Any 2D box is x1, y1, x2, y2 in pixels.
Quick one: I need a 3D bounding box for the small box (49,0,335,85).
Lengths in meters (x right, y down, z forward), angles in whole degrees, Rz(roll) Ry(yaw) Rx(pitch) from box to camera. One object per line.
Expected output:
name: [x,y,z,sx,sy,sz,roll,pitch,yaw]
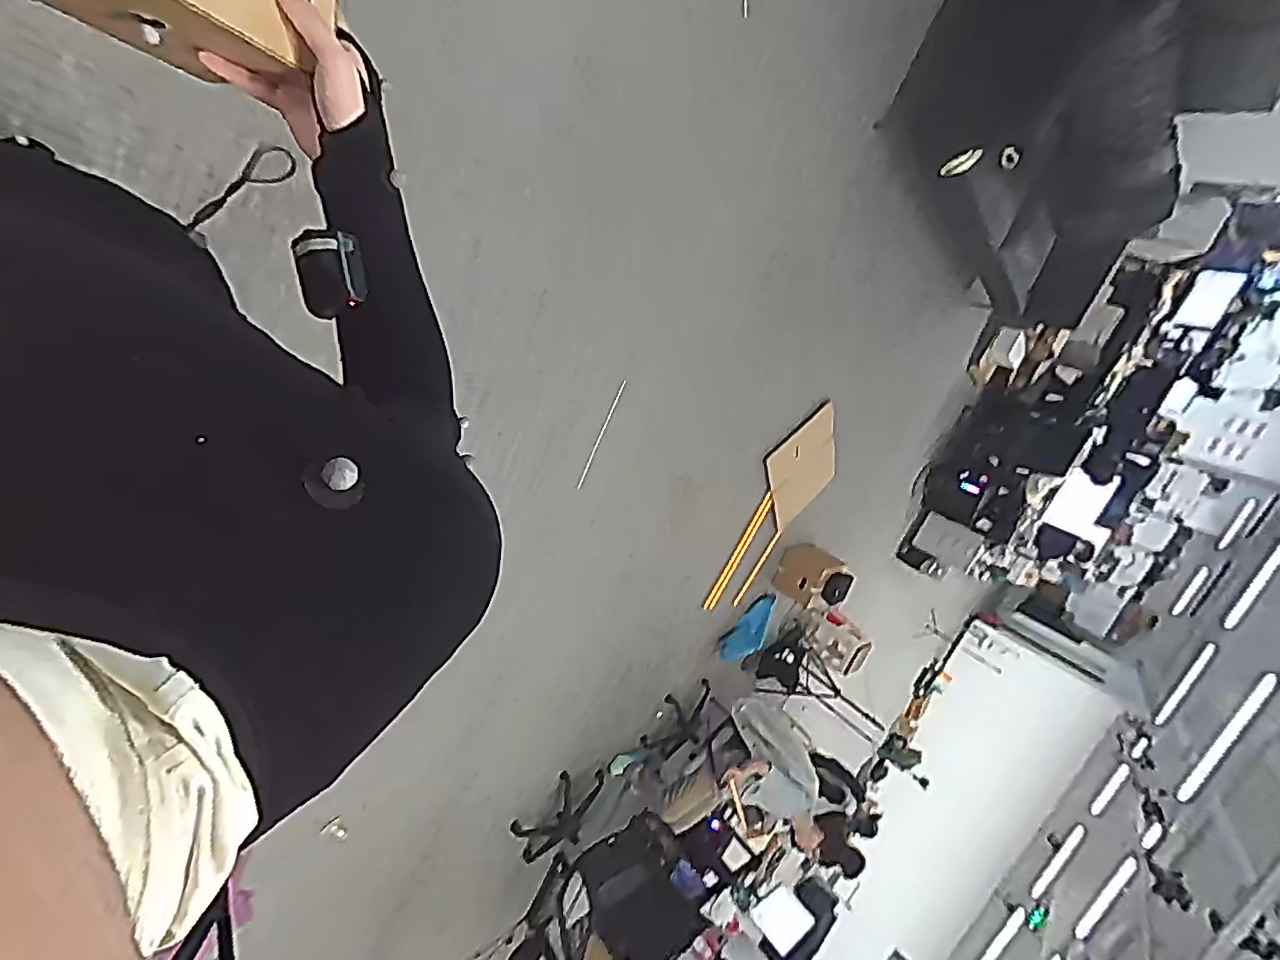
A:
small box: [-0.349,-0.420,0.385,0.179,0.176,0.168,-17,121,-66]
